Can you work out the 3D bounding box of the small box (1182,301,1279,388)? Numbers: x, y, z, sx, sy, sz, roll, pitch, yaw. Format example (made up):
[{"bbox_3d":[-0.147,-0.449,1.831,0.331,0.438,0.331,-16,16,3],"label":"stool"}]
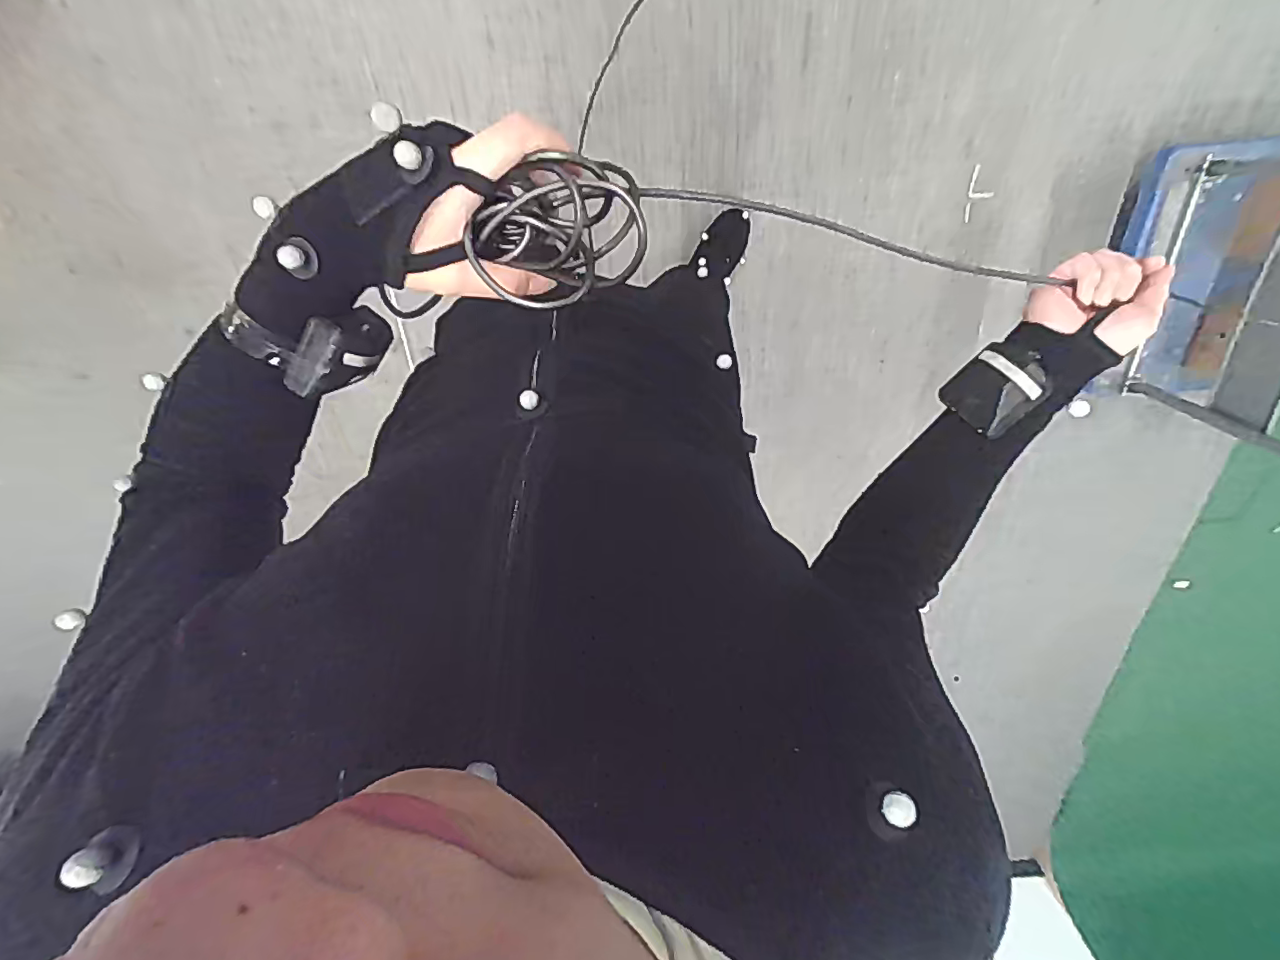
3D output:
[{"bbox_3d":[1.482,-0.326,1.291,0.179,0.176,0.168,-2,118,2],"label":"small box"}]
